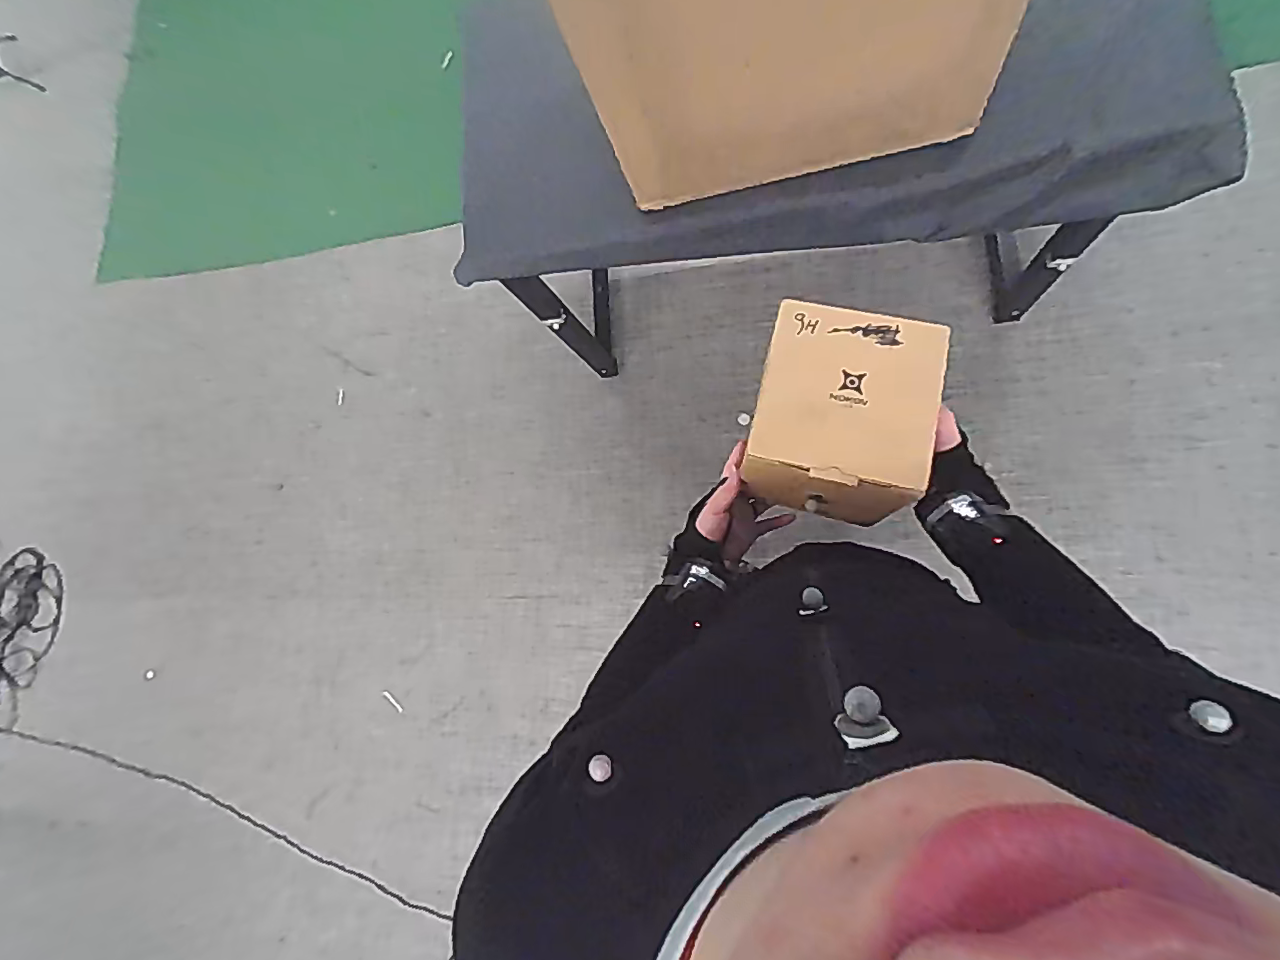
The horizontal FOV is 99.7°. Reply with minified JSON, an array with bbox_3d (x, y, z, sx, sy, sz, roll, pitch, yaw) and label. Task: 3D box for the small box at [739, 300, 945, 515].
[{"bbox_3d":[0.209,-0.068,0.602,0.168,0.176,0.179,13,78,9],"label":"small box"}]
